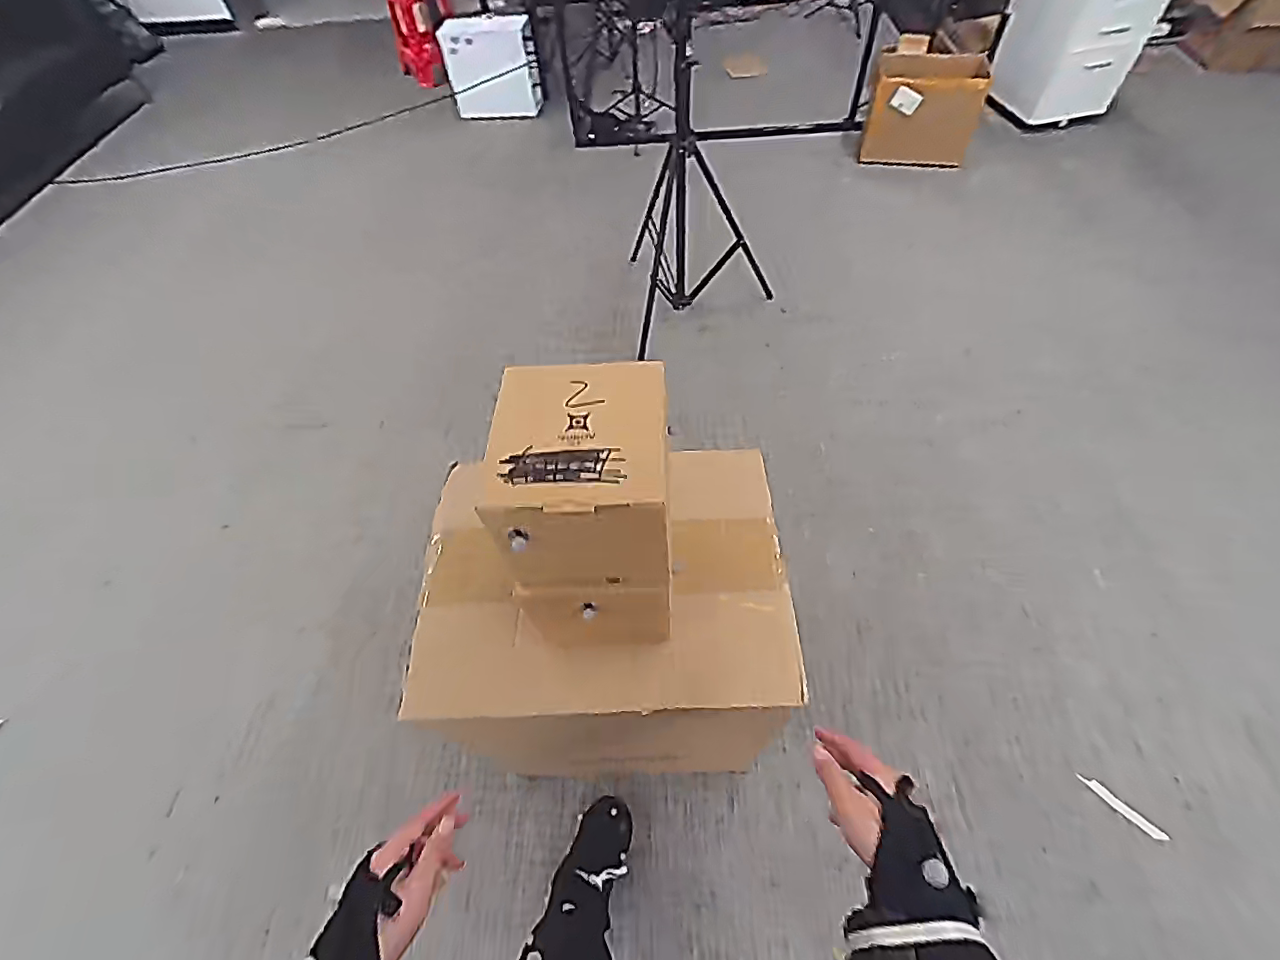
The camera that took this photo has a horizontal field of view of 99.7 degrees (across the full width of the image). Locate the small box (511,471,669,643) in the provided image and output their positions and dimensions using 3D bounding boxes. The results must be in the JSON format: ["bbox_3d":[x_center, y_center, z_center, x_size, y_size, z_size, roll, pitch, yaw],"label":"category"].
[{"bbox_3d":[-0.053,0.104,0.701,0.179,0.176,0.168,-3,55,2],"label":"small box"}]
